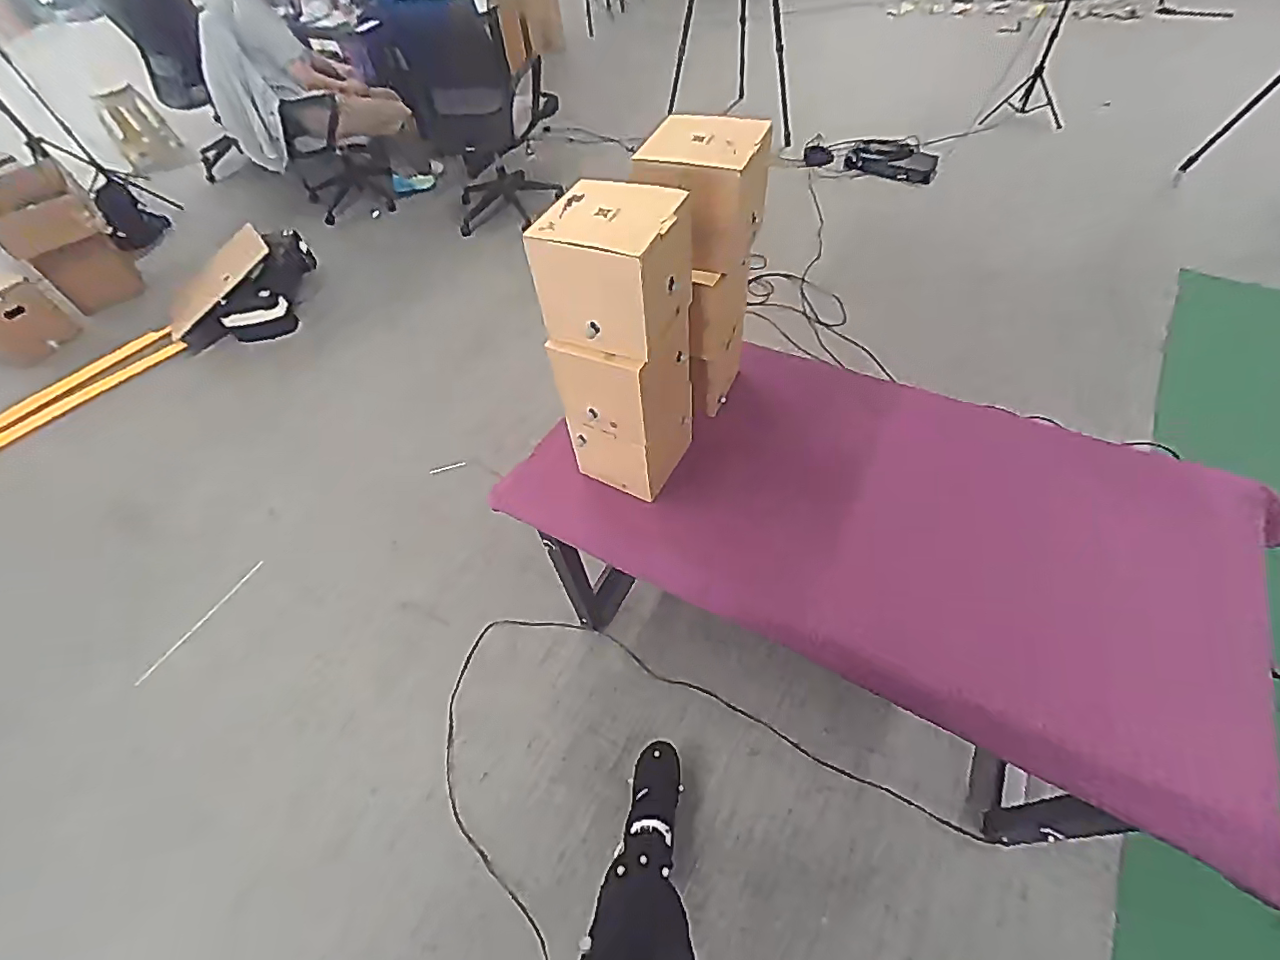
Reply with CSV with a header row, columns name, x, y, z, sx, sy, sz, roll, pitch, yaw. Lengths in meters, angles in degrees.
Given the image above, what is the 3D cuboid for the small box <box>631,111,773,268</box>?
name,x,y,z,sx,sy,sz,roll,pitch,yaw
small box,0.103,-0.474,0.887,0.179,0.176,0.168,17,58,17

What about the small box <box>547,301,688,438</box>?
name,x,y,z,sx,sy,sz,roll,pitch,yaw
small box,-0.029,-0.202,0.906,0.168,0.176,0.179,20,58,19

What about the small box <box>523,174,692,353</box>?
name,x,y,z,sx,sy,sz,roll,pitch,yaw
small box,-0.035,-0.308,0.781,0.179,0.176,0.168,19,57,18
